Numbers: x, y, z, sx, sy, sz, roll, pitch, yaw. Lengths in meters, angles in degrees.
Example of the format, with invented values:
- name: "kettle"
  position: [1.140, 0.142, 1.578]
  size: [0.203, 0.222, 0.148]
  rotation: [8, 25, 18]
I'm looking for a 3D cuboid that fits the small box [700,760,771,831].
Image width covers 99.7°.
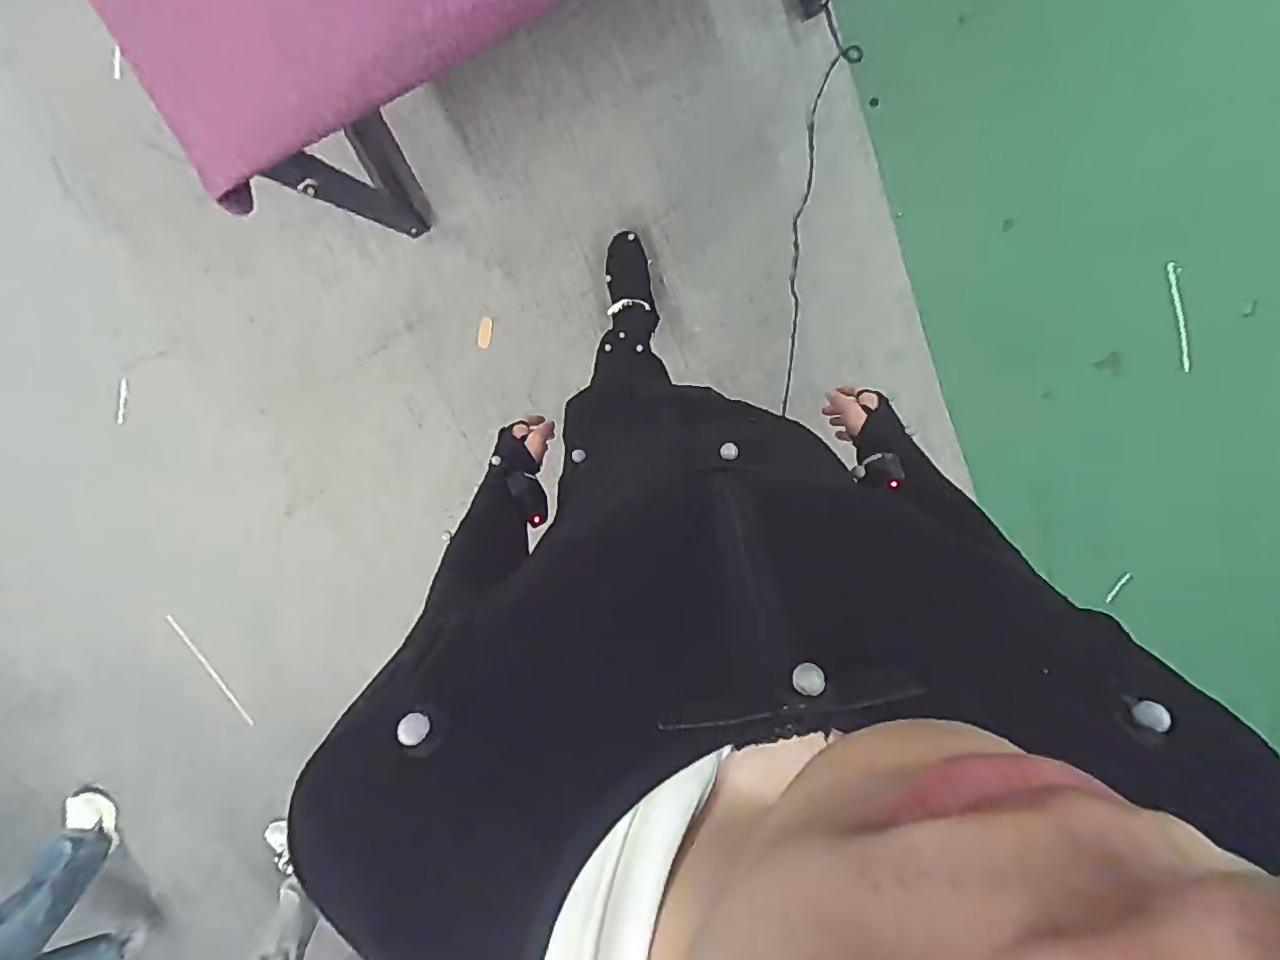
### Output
- name: "small box"
  position: [0.315, 1.086, 1.823]
  size: [0.179, 0.176, 0.168]
  rotation: [-22, 103, 5]
